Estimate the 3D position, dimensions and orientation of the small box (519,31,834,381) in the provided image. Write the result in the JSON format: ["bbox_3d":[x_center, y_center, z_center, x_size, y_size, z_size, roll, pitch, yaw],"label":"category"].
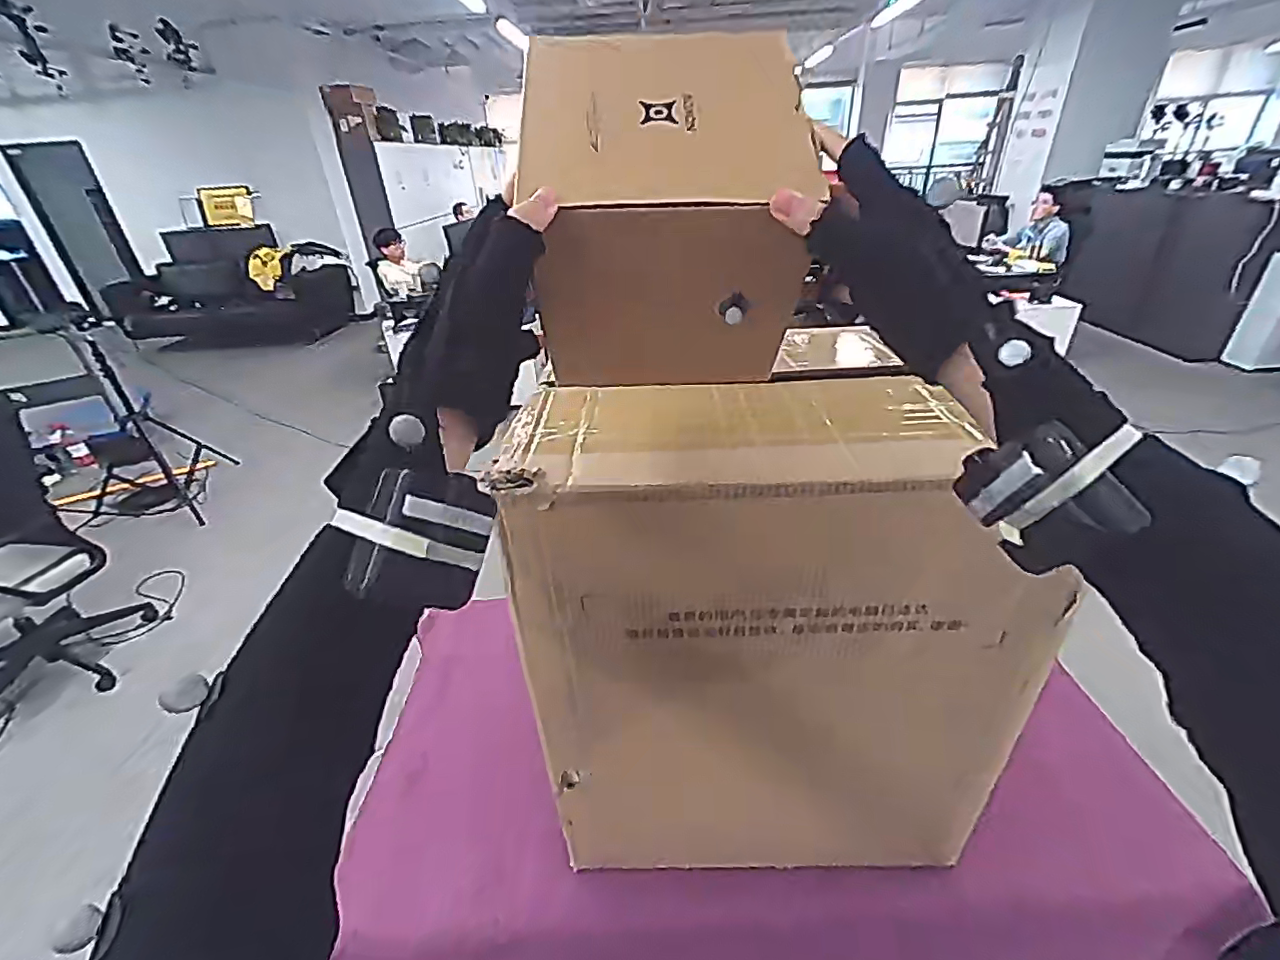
[{"bbox_3d":[0.018,-0.189,0.400,0.179,0.176,0.168,-3,63,0],"label":"small box"}]
